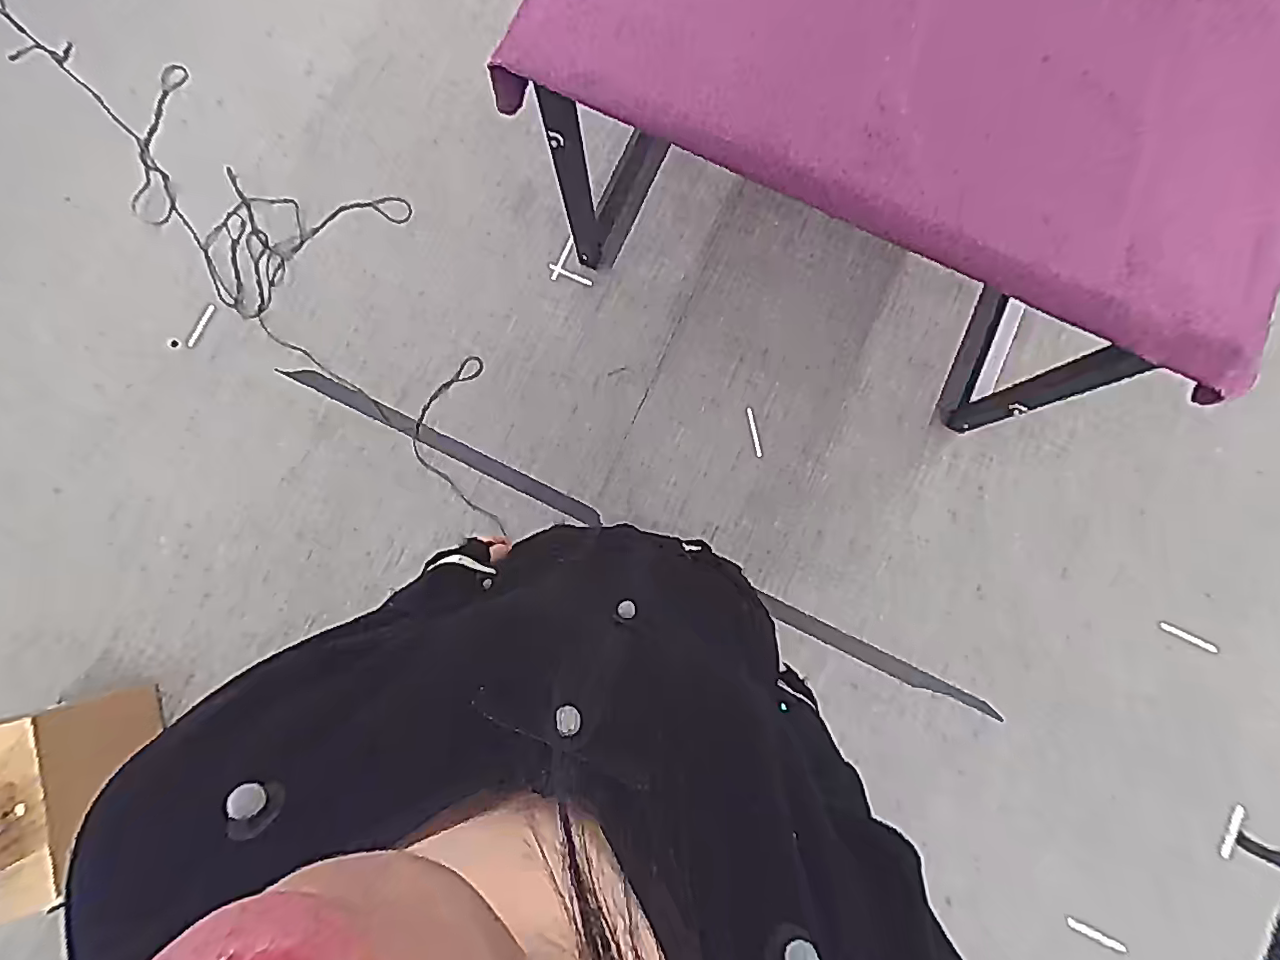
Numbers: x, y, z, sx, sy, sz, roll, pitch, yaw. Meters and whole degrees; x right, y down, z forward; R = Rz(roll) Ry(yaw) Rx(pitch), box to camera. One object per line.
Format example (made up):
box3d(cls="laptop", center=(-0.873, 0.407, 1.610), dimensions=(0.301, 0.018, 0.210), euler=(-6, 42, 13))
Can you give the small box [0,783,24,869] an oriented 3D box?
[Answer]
box3d(cls="small box", center=(-1.406, 0.738, 1.072), dimensions=(0.179, 0.176, 0.168), euler=(-16, 84, -1))
